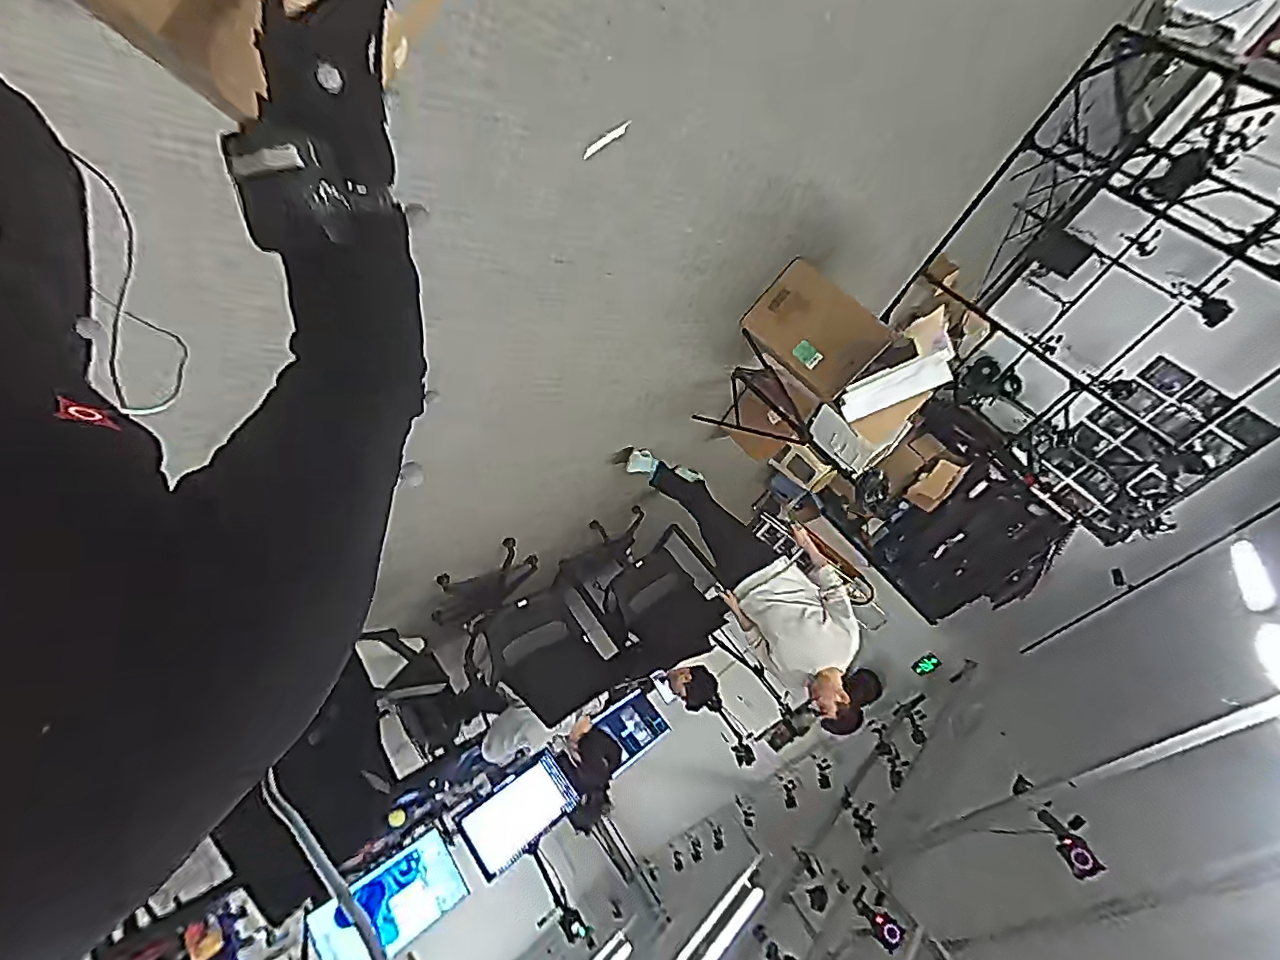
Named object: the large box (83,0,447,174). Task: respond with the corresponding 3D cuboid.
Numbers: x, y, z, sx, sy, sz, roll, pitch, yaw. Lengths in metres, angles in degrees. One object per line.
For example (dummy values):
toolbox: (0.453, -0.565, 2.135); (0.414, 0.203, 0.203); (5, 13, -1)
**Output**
large box: (-0.366, -0.518, 0.374); (0.320, 0.408, 0.320); (-53, -159, 3)
